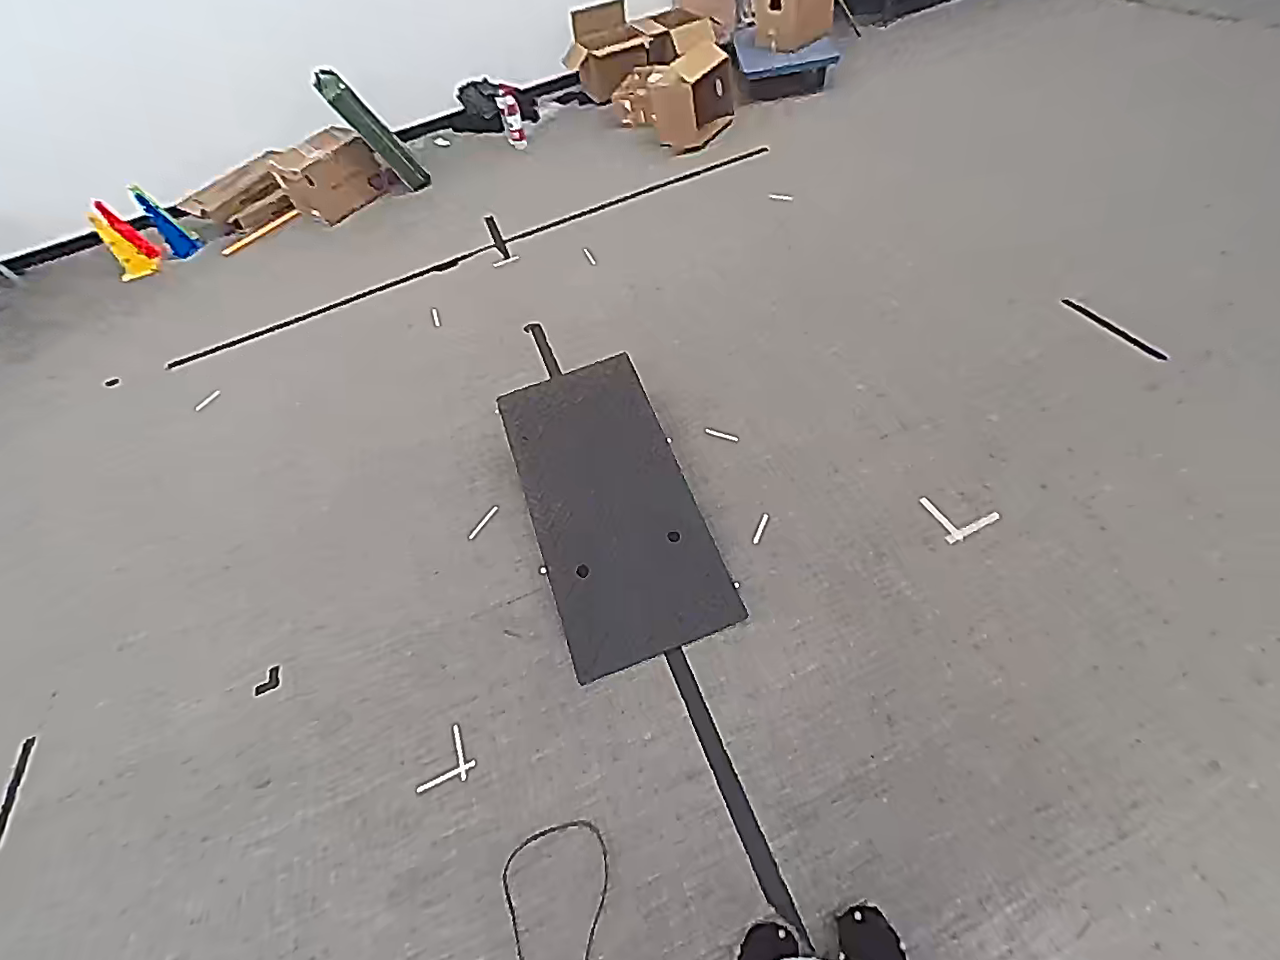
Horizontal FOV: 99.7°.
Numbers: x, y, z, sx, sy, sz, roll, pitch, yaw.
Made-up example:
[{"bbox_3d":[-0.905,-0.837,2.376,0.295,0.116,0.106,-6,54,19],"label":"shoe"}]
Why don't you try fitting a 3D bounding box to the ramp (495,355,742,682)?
[{"bbox_3d":[-0.108,0.050,1.683,0.509,0.206,0.991,-21,53,-6],"label":"ramp"}]
